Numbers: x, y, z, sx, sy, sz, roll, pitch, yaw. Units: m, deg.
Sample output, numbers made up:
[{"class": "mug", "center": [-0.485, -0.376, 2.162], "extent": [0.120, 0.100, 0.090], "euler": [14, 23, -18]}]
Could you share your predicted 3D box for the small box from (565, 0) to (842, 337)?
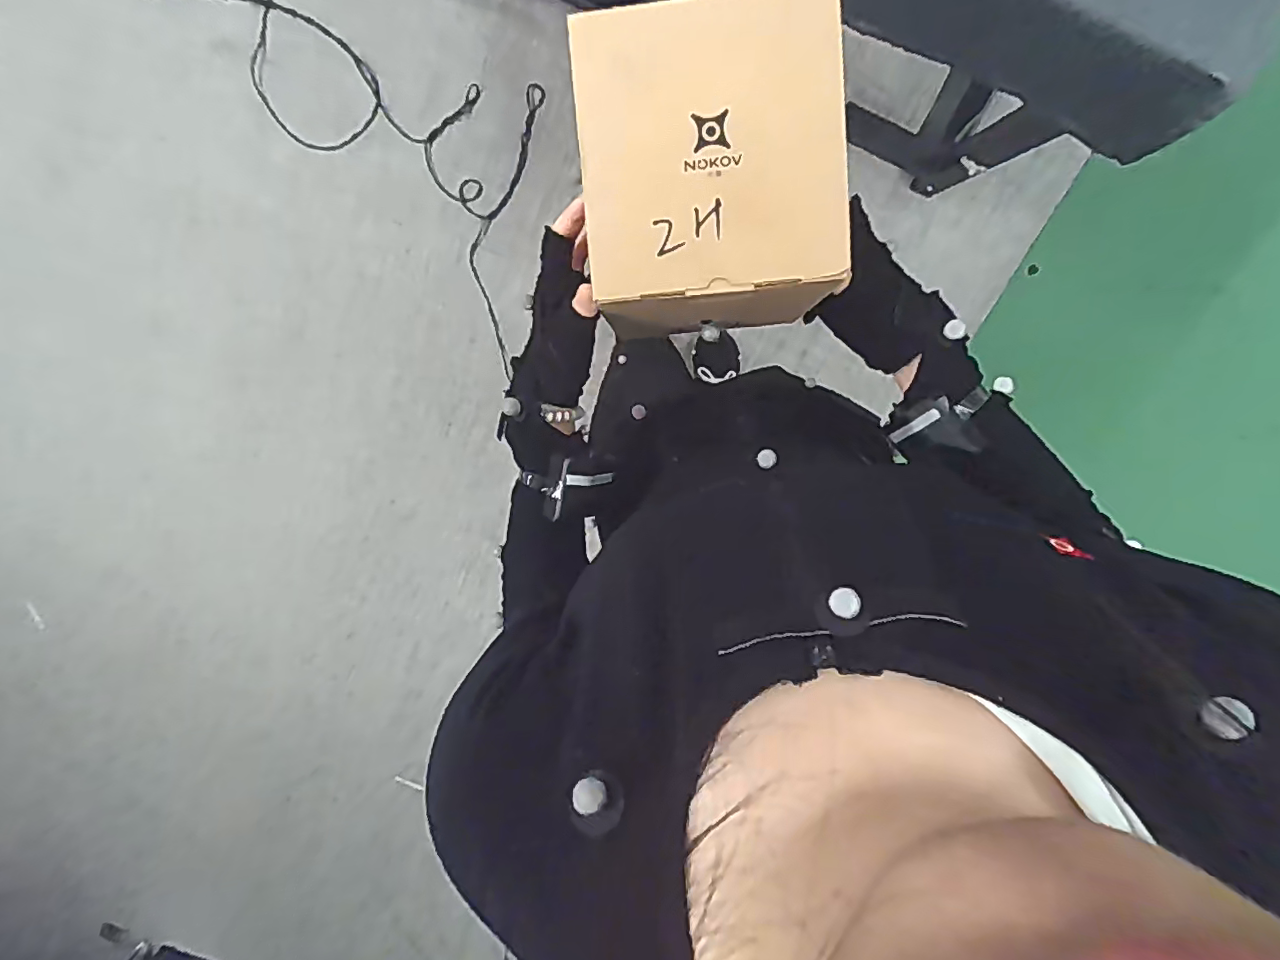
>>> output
[{"class": "small box", "center": [0.045, -0.216, 0.413], "extent": [0.168, 0.176, 0.179], "euler": [-4, 96, 5]}]
